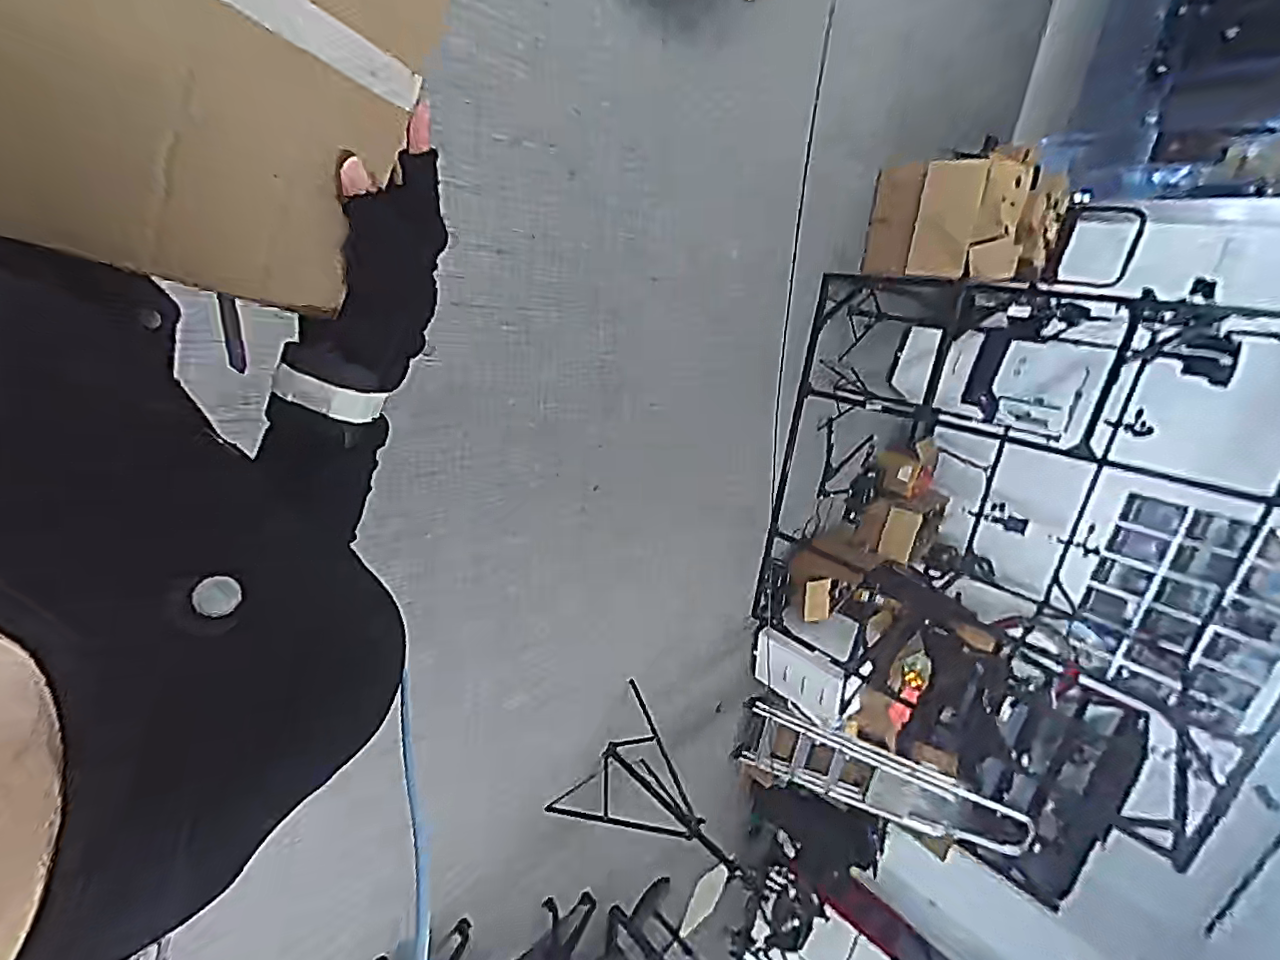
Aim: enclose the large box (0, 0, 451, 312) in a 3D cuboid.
[{"bbox_3d":[-0.352,-0.339,0.257,0.408,0.320,0.320,5,127,-51],"label":"large box"}]
